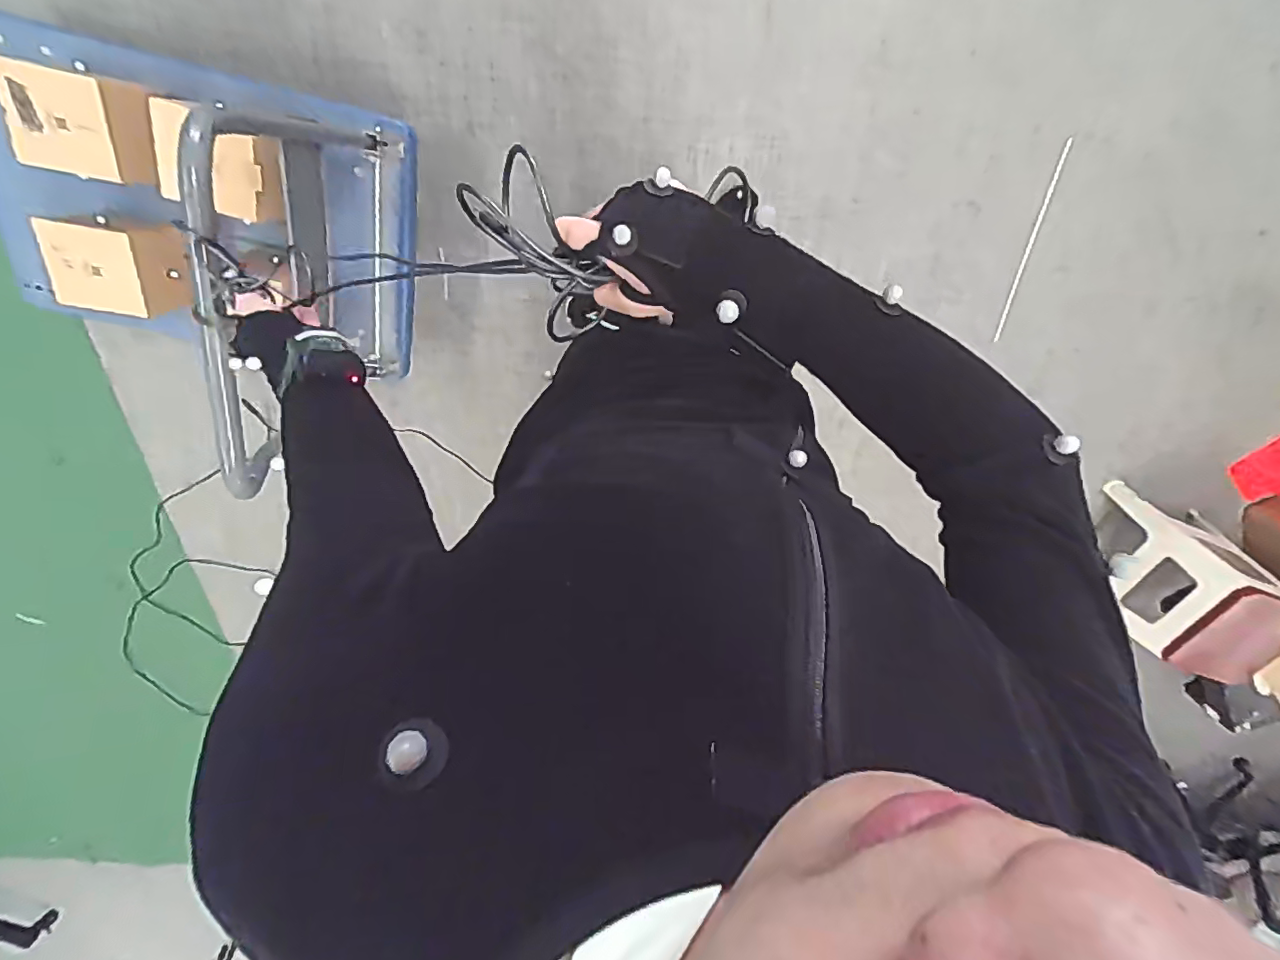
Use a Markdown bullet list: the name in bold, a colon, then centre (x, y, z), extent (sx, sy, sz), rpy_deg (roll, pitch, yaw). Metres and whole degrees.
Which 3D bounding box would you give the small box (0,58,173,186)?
- **small box**: centre (-1.034, -0.676, 1.039), extent (0.179, 0.176, 0.168), rpy_deg (10, 120, -7)

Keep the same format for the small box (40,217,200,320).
- **small box**: centre (-1.094, -0.460, 1.162), extent (0.179, 0.176, 0.168), rpy_deg (9, 118, -6)

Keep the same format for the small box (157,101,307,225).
- **small box**: centre (-0.797, -0.623, 1.075), extent (0.179, 0.176, 0.168), rpy_deg (13, 119, -9)
